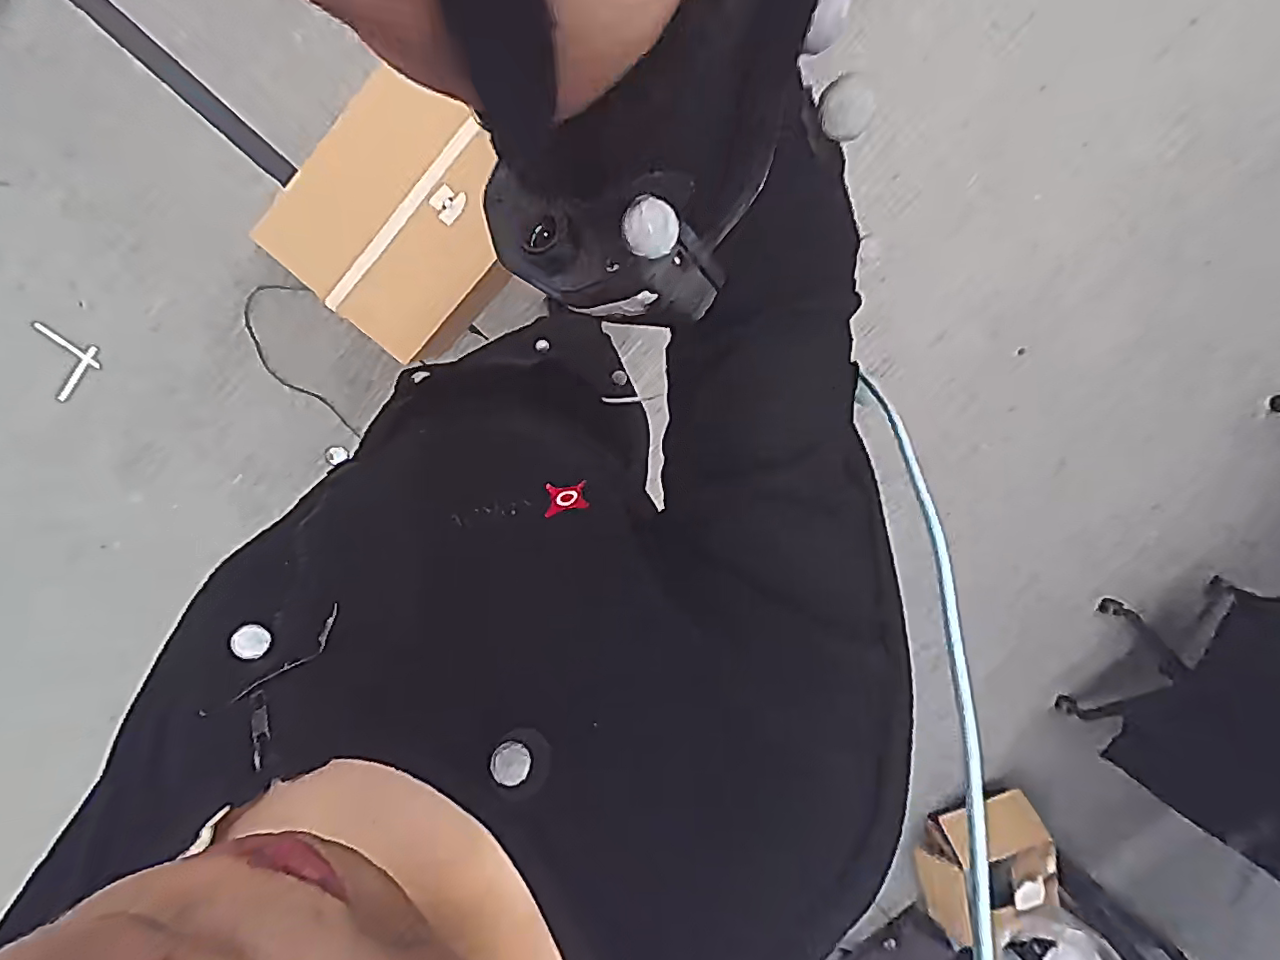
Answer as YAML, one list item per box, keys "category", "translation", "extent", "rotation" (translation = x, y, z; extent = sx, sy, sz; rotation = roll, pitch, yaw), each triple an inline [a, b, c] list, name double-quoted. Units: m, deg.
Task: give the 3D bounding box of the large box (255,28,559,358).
- category: "large box"
  translation: [-0.400, -0.490, 1.029]
  extent: [0.320, 0.320, 0.408]
  rotation: [42, 98, -17]
